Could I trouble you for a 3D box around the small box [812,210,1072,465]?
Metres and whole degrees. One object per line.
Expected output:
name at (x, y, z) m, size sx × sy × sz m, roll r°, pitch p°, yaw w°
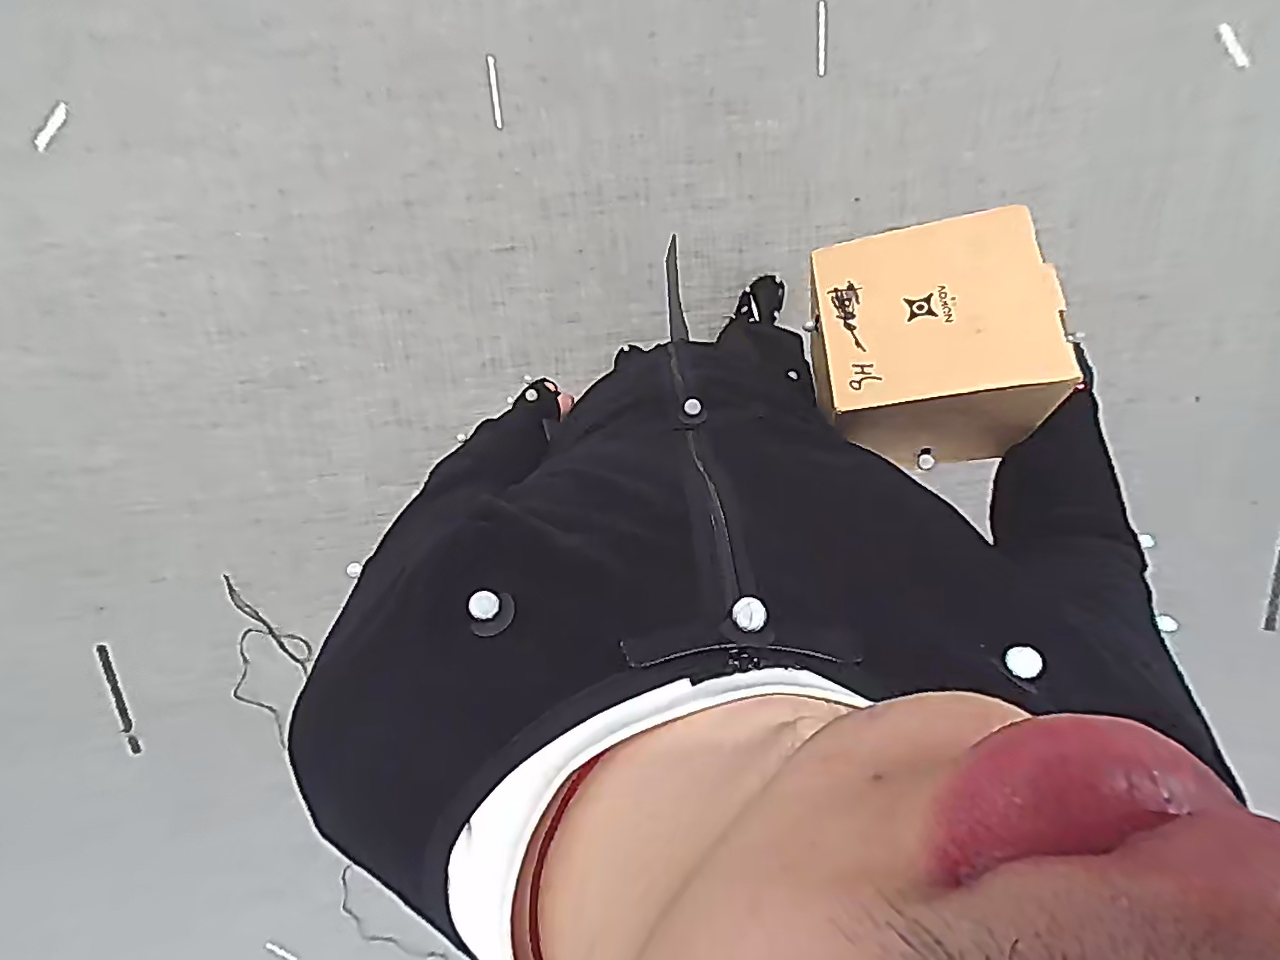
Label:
small box at (0.270, -0.123, 0.533) m, size 0.179 × 0.176 × 0.168 m, roll -6°, pitch 70°, yaw 15°
